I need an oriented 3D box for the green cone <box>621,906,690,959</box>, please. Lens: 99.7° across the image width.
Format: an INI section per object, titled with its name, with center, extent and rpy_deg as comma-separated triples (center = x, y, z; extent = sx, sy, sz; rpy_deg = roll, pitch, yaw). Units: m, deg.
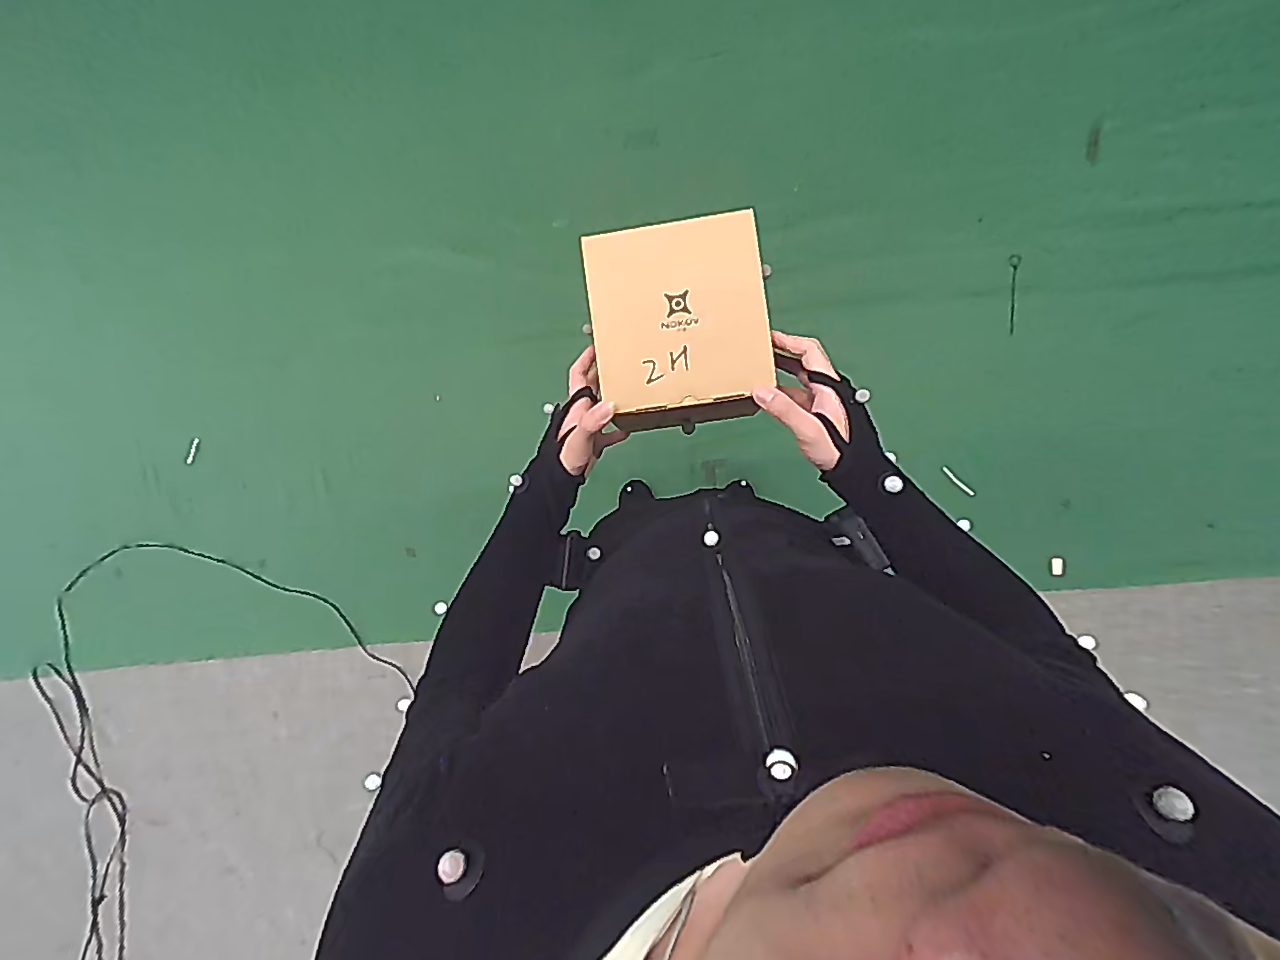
[green cone]
center = 0.033, 1.384, 1.456
extent = 0.202, 0.368, 0.200
rpy_deg = -5, 90, 5
